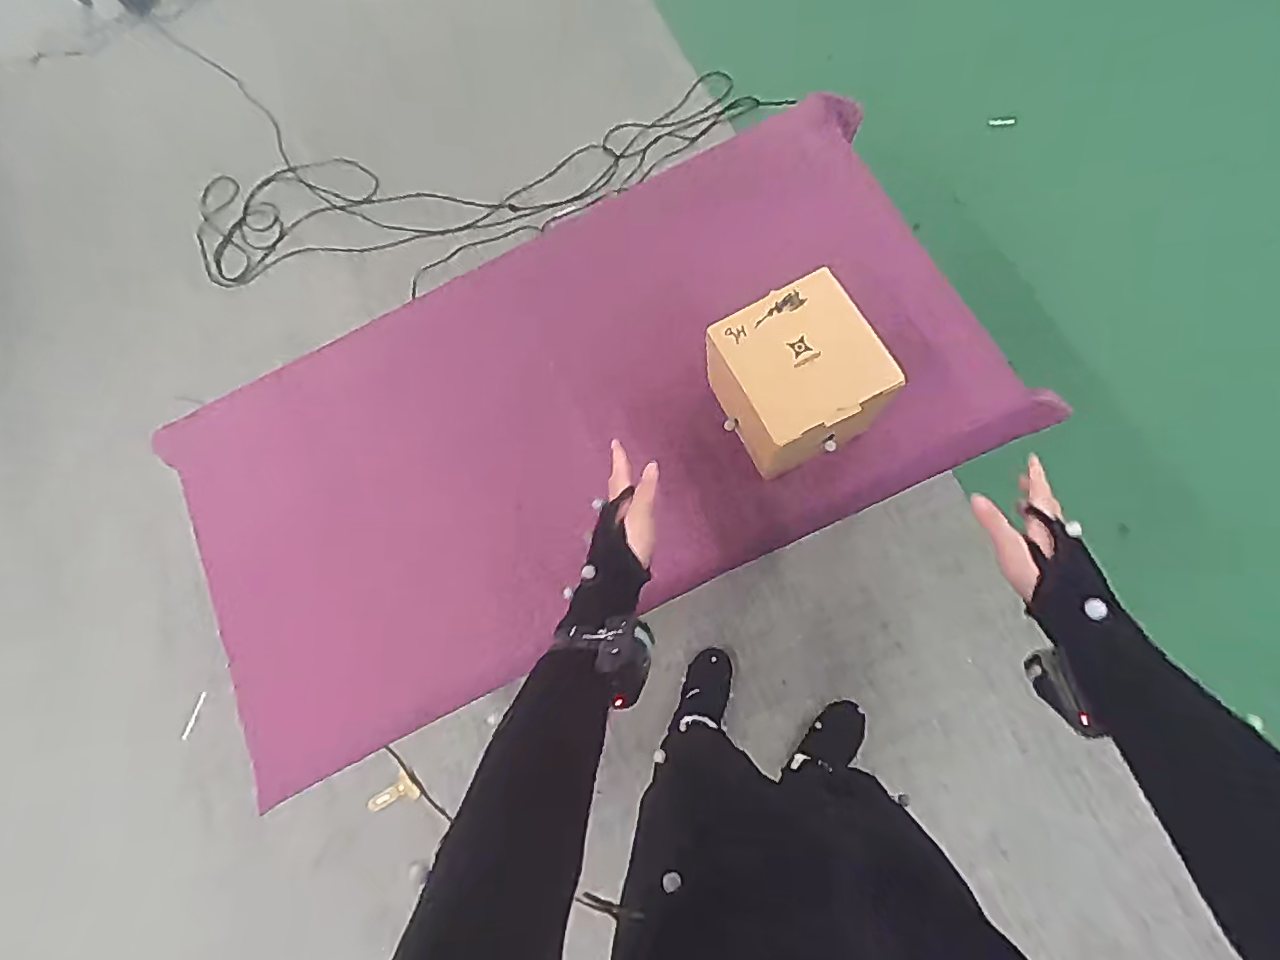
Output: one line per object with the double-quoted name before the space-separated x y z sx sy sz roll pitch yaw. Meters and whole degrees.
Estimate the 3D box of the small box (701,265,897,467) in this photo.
"small box" 0.193 -0.130 0.702 0.168 0.176 0.179 -27 75 2

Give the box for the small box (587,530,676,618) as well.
"small box" -0.014 0.244 1.399 0.179 0.176 0.168 -26 75 2
